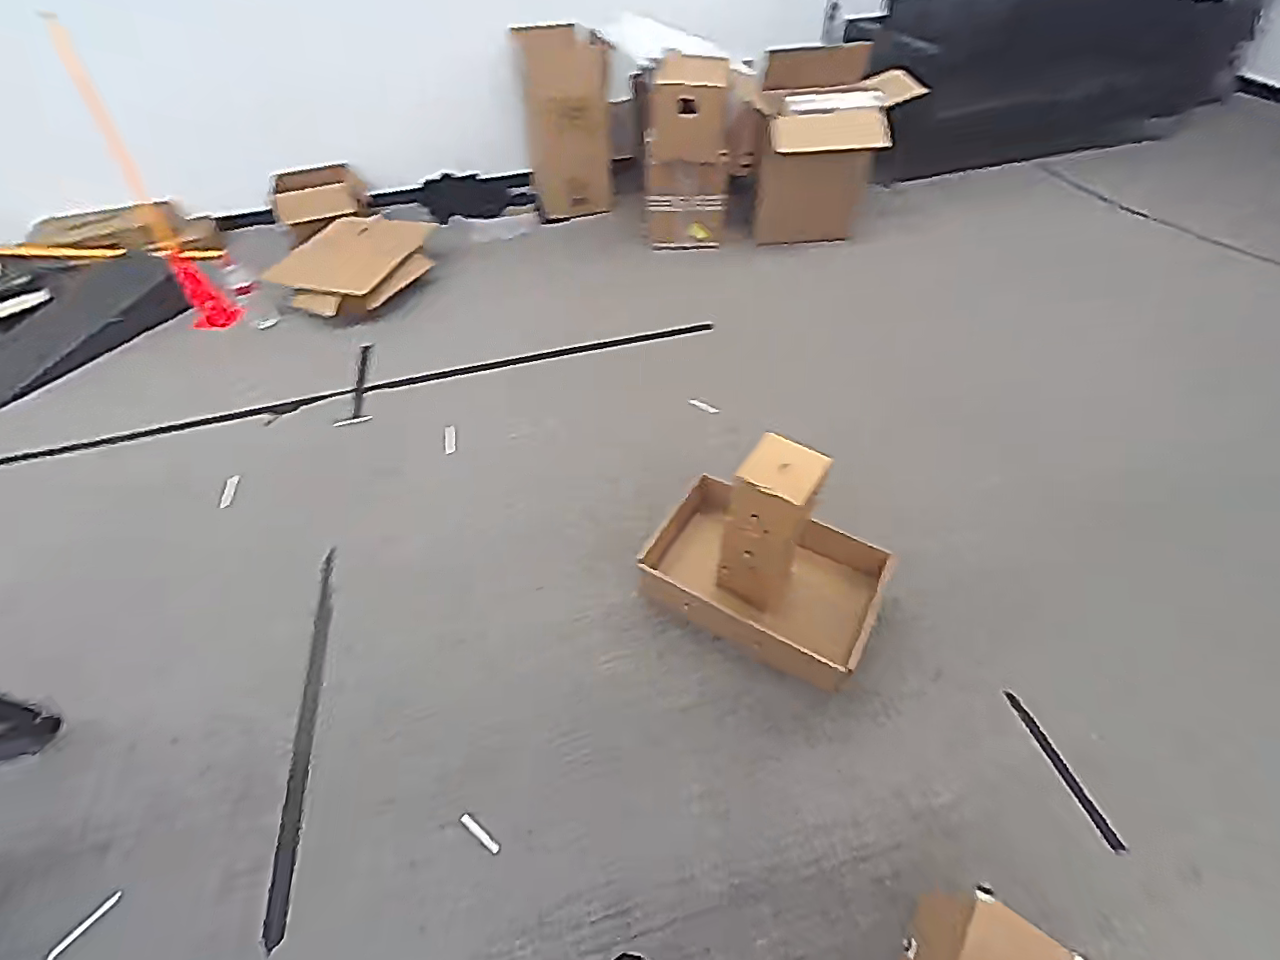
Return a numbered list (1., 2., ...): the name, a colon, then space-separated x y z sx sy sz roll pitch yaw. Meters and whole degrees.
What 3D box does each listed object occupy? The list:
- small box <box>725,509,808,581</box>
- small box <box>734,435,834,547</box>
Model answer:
1. small box: 0.338 0.136 1.443 0.168 0.176 0.179 29 57 24
2. small box: 0.343 0.027 1.321 0.168 0.176 0.179 28 56 23
